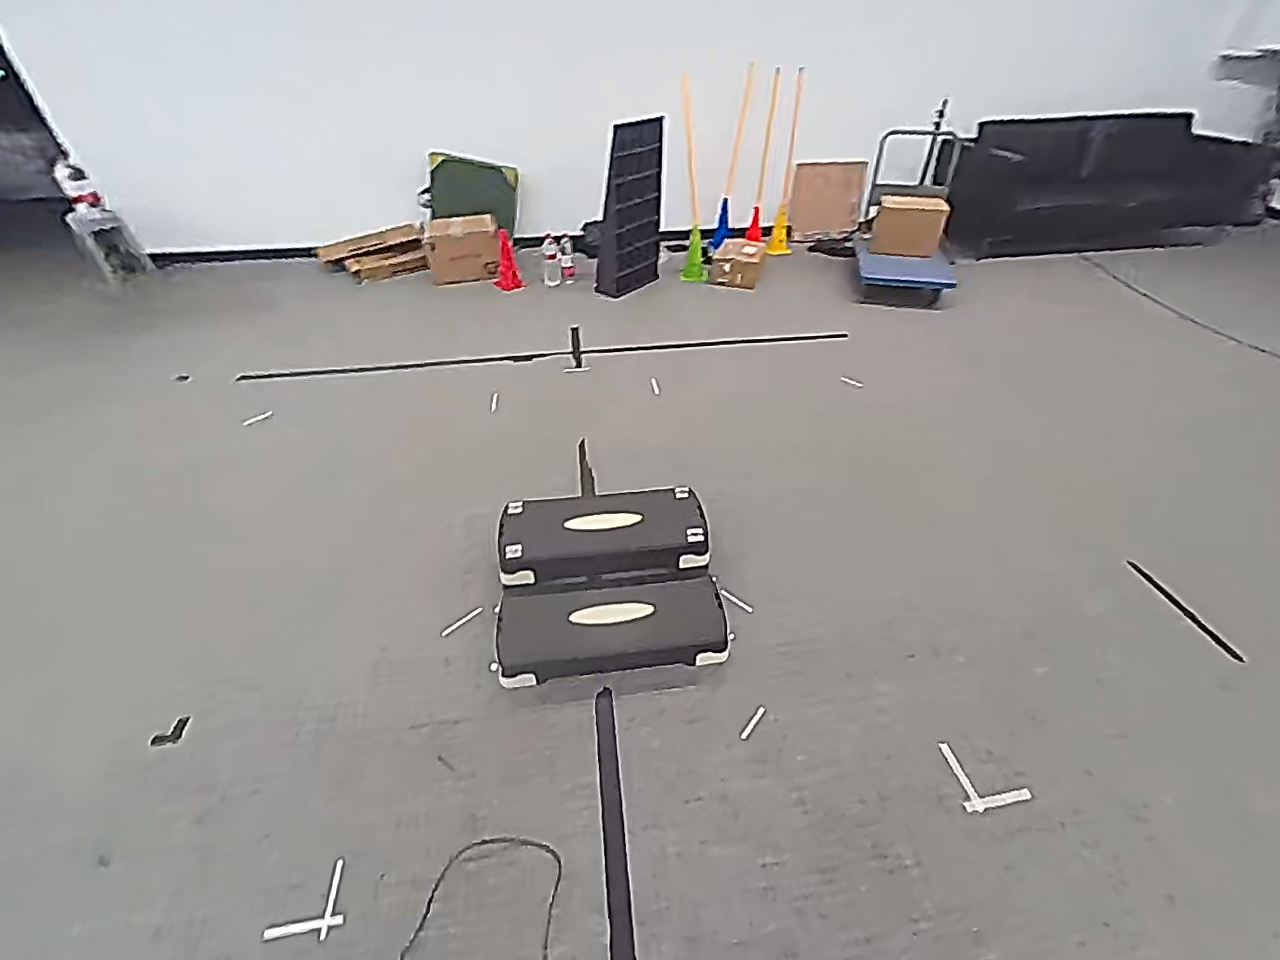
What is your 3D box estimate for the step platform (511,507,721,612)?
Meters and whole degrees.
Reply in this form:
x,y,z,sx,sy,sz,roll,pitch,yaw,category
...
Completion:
x,y,z,sx,sy,sz,roll,pitch,yaw,category
-0.078,0.254,1.799,0.684,0.204,0.286,-2,39,-3,step platform
